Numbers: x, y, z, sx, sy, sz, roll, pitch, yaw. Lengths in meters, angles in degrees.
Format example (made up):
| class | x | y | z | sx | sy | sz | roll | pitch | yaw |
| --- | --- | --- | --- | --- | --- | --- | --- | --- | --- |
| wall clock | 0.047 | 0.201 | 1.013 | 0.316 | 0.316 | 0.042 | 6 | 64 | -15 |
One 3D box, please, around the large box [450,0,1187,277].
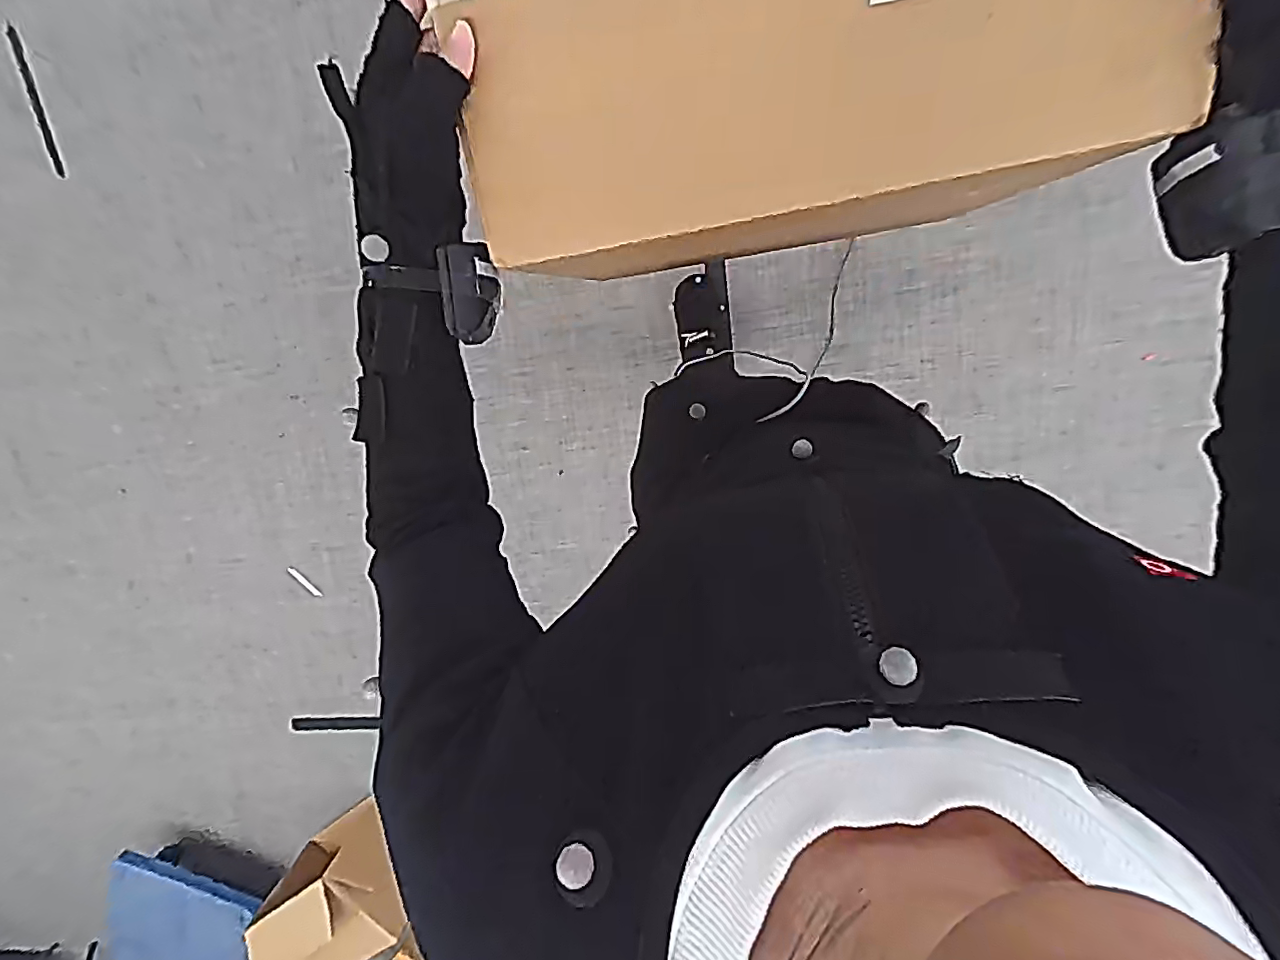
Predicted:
| class | x | y | z | sx | sy | sz | roll | pitch | yaw |
| --- | --- | --- | --- | --- | --- | --- | --- | --- | --- |
| large box | 0.095 | -0.367 | 0.431 | 0.408 | 0.320 | 0.320 | -7 | 108 | 11 |
